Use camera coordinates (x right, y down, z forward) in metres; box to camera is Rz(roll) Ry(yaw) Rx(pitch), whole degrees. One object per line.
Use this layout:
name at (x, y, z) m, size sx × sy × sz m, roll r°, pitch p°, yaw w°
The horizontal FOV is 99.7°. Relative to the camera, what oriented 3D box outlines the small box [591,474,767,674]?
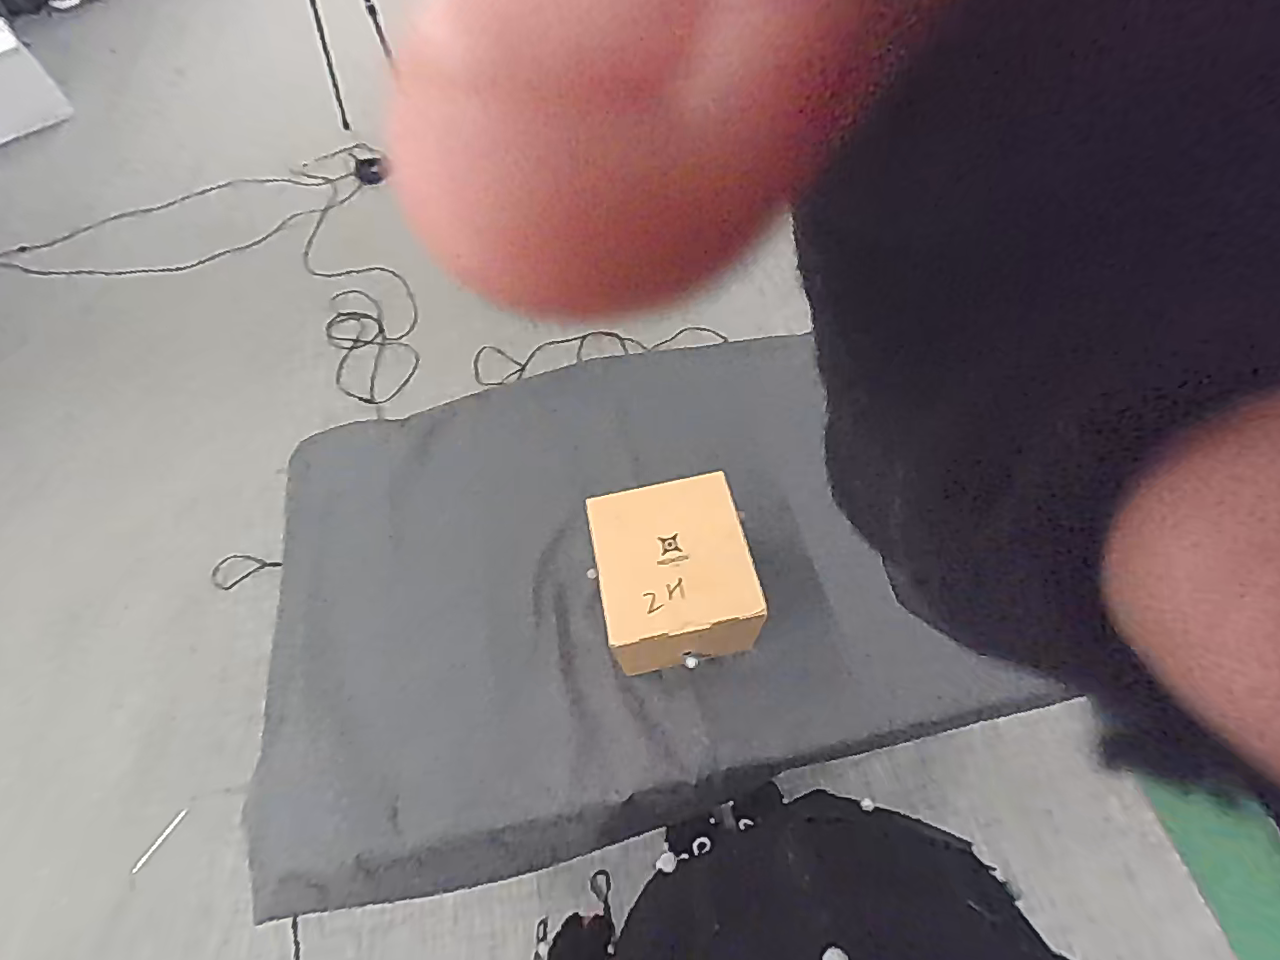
small box at (0.042, 0.120, 0.658) m, size 0.168 × 0.176 × 0.179 m, roll -12°, pitch 61°, yaw -1°
